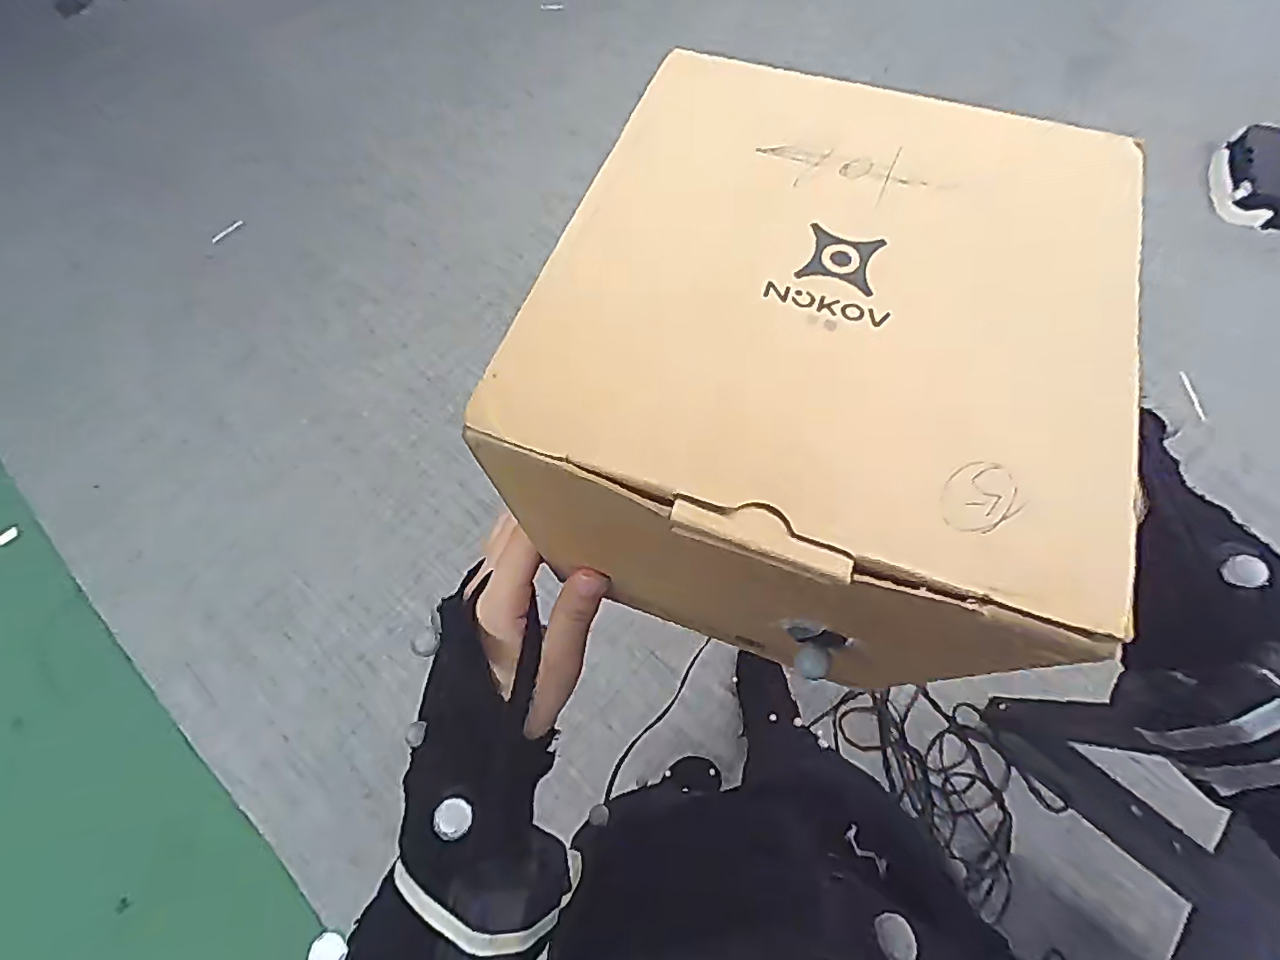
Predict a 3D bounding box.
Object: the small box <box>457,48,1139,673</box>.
[{"bbox_3d":[0.057,-0.031,0.232,0.168,0.176,0.179,18,67,8],"label":"small box"}]
